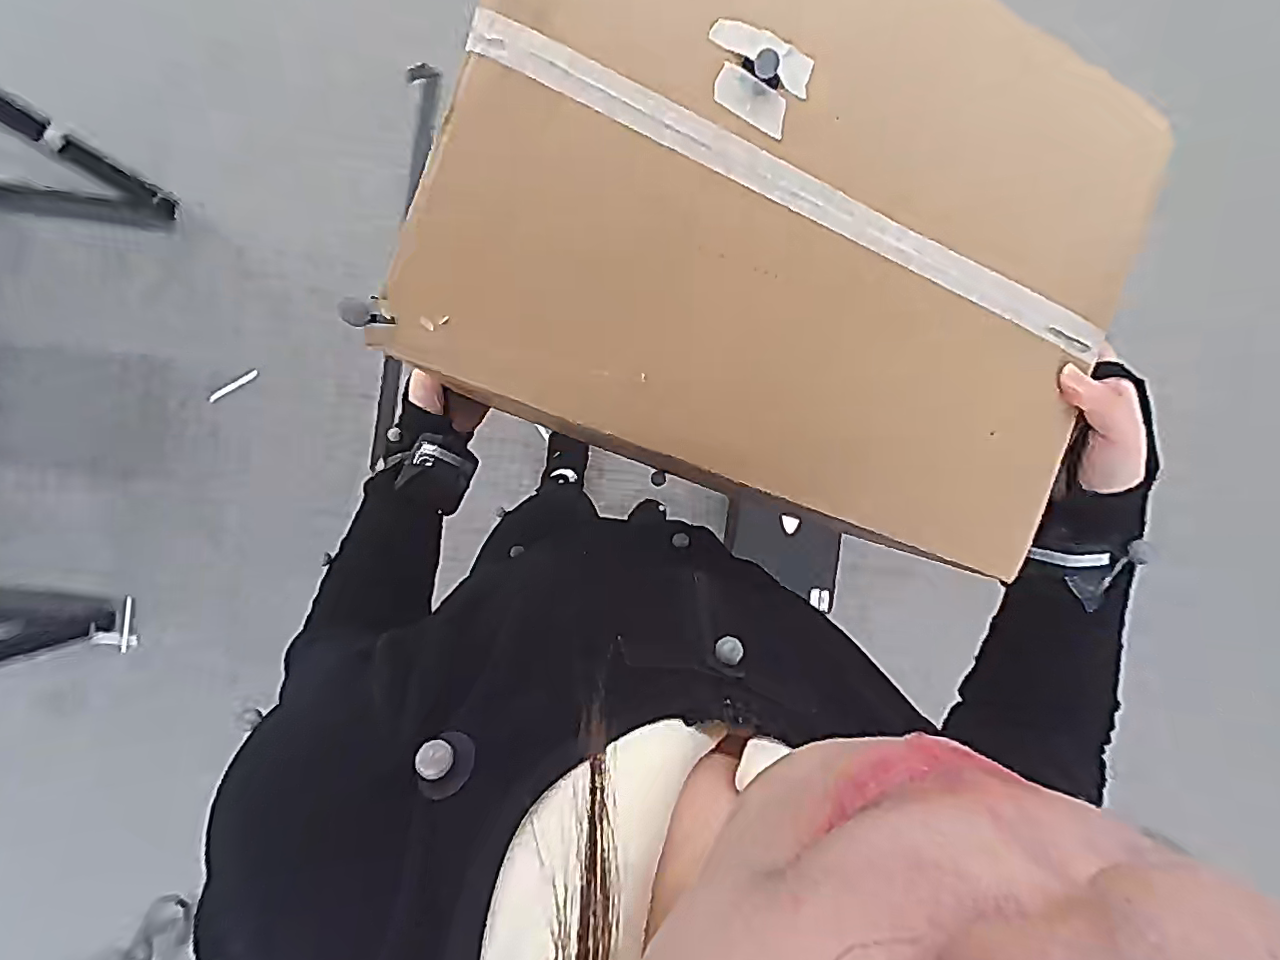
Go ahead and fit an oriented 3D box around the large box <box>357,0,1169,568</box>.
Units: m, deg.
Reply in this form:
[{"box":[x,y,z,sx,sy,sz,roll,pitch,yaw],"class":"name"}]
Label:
[{"box":[0.068,-0.156,0.440,0.408,0.320,0.320,18,90,-12],"class":"large box"}]
